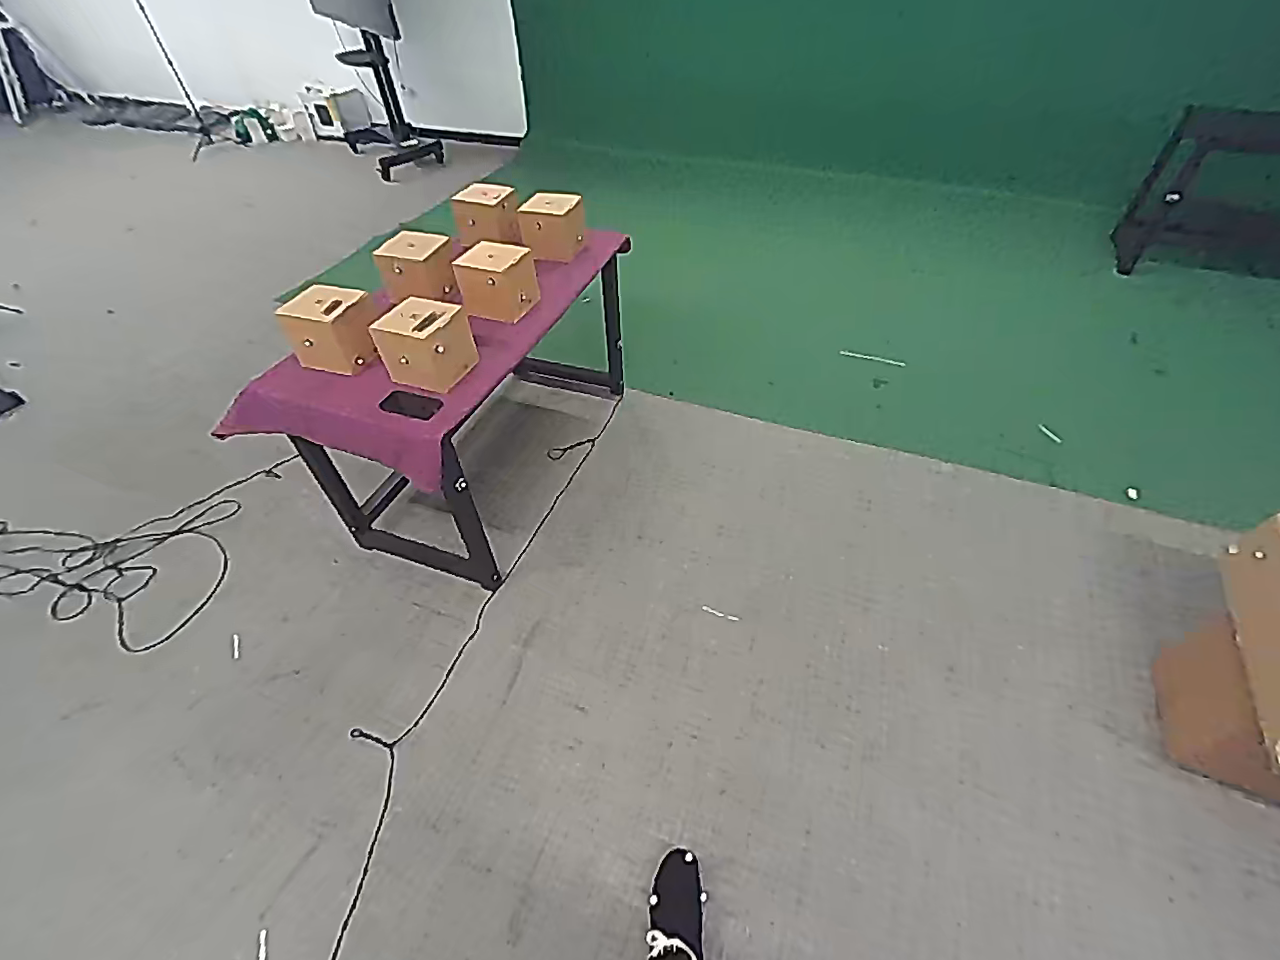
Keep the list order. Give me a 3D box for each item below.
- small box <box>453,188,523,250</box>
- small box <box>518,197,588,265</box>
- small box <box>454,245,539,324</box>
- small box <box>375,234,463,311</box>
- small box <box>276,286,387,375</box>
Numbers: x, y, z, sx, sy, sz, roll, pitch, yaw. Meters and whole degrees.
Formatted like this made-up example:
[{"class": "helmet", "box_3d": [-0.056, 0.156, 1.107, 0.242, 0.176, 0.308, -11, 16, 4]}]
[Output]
[{"class": "small box", "box_3d": [-0.555, -0.957, 1.996, 0.179, 0.176, 0.168, 13, 49, 14]}, {"class": "small box", "box_3d": [-0.302, -0.882, 1.916, 0.179, 0.176, 0.168, 13, 50, 15]}, {"class": "small box", "box_3d": [-0.431, -0.598, 1.656, 0.179, 0.176, 0.168, 16, 49, 16]}, {"class": "small box", "box_3d": [-0.696, -0.658, 1.721, 0.179, 0.176, 0.168, 13, 49, 12]}, {"class": "small box", "box_3d": [-0.834, -0.408, 1.485, 0.179, 0.176, 0.168, 12, 48, 13]}]
